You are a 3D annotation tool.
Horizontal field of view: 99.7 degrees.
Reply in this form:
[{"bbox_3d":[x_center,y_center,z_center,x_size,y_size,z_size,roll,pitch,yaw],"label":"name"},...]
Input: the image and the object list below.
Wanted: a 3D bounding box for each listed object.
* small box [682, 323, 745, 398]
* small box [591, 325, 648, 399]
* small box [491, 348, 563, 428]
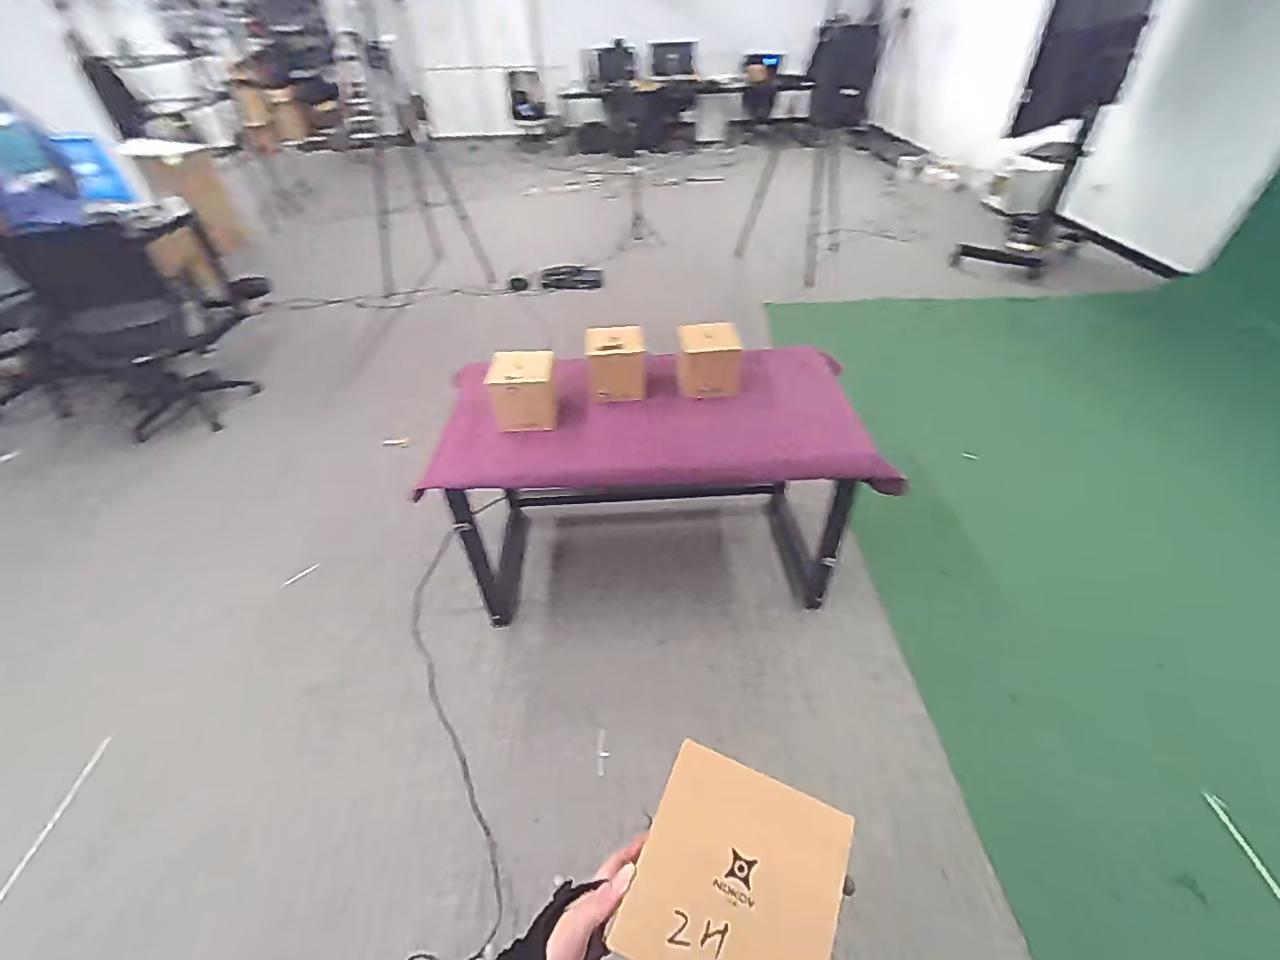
[{"bbox_3d":[0.223,-0.372,1.687,0.168,0.176,0.179,-4,43,-1],"label":"small box"},{"bbox_3d":[-0.062,-0.364,1.685,0.168,0.176,0.179,-2,41,-1],"label":"small box"},{"bbox_3d":[-0.323,-0.268,1.583,0.168,0.176,0.179,-2,41,1],"label":"small box"}]
